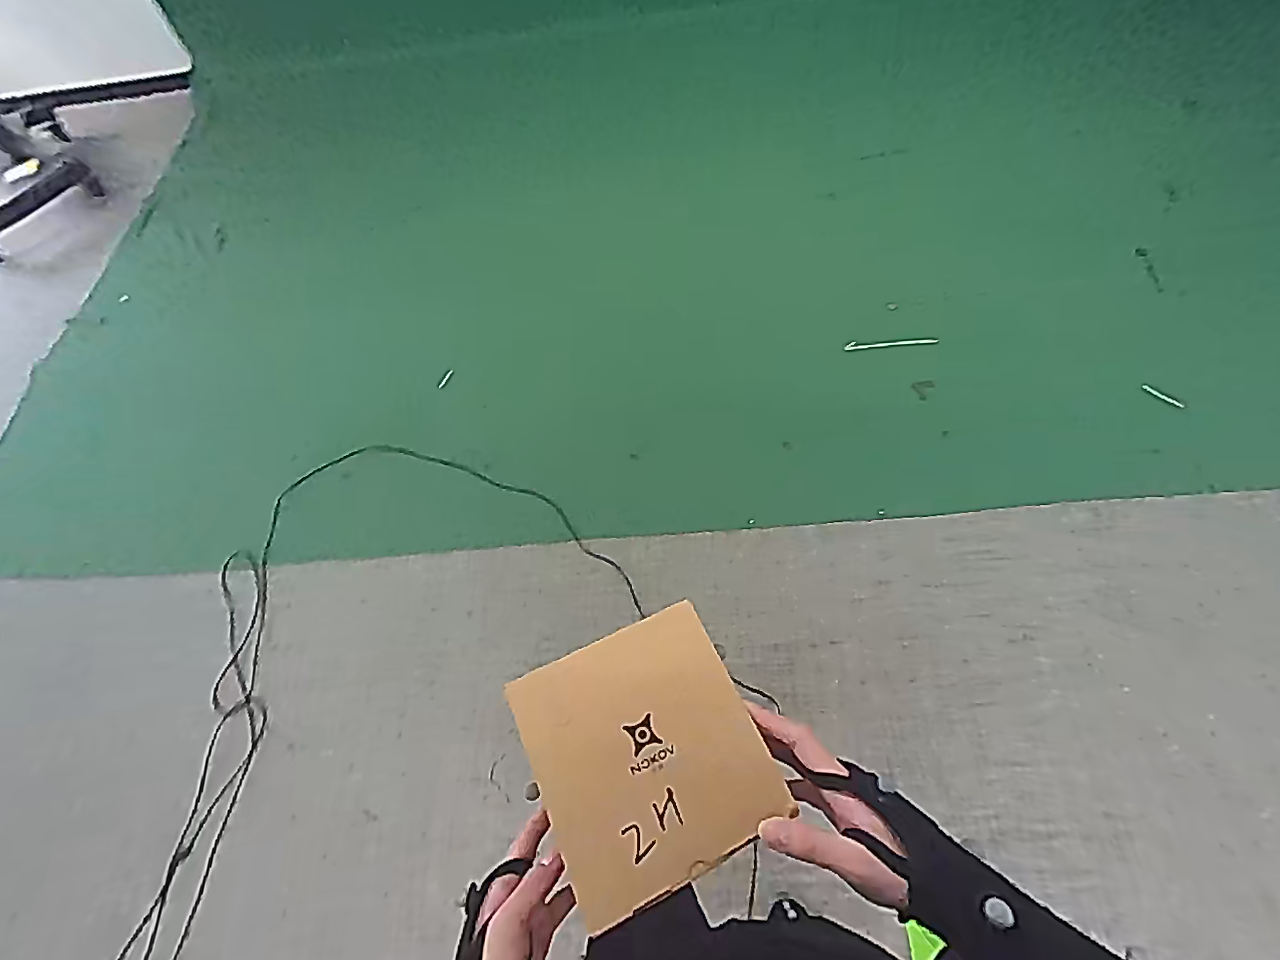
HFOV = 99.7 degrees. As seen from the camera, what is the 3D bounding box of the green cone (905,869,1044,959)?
[{"bbox_3d":[0.662,0.862,0.992,0.202,0.368,0.200,-4,61,5],"label":"green cone"}]
